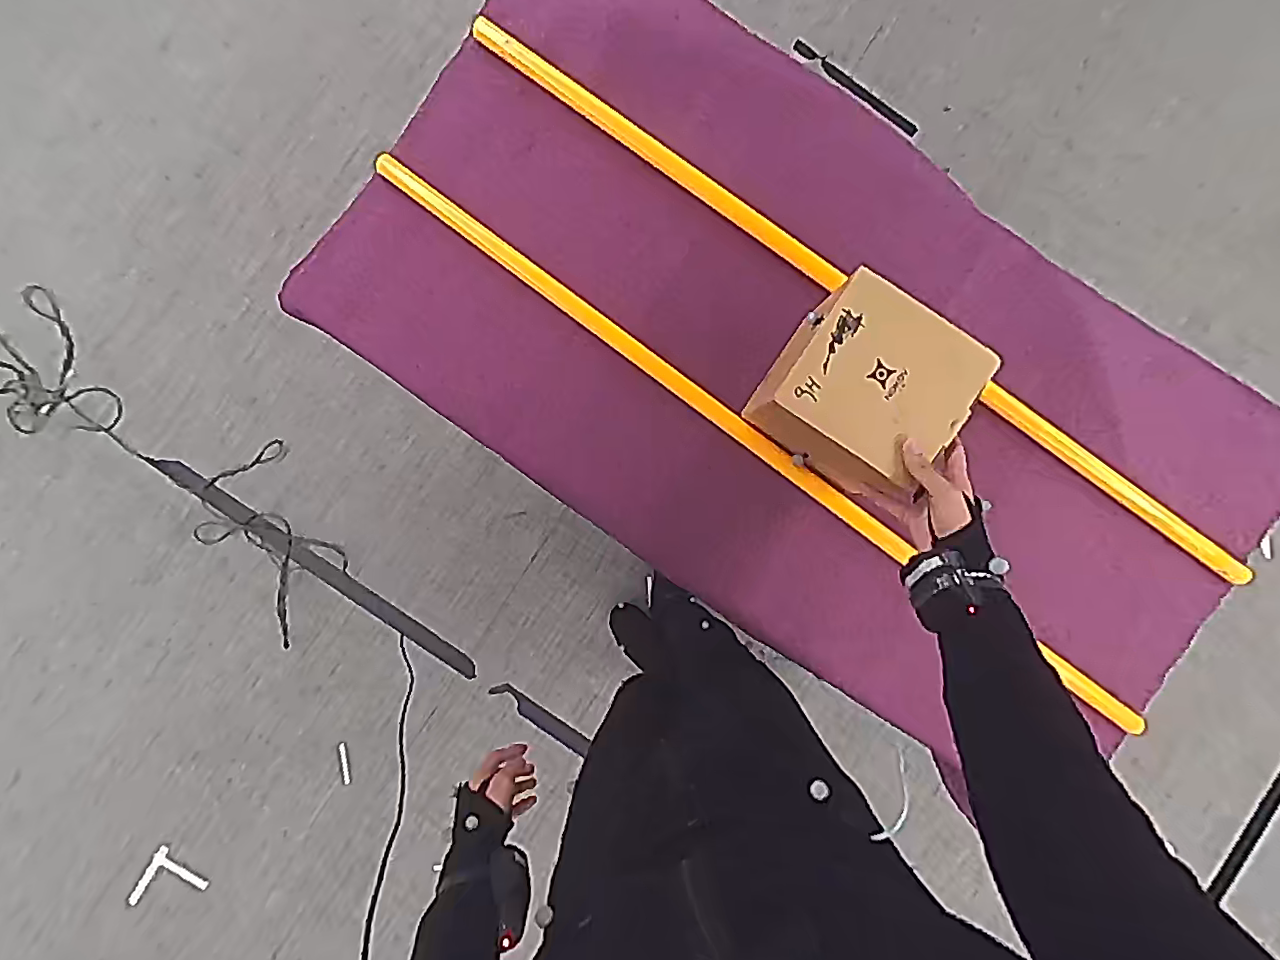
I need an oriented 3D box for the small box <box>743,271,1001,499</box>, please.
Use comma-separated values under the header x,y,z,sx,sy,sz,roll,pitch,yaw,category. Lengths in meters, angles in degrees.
x,y,z,sx,sy,sz,roll,pitch,yaw,category
0.245,-0.097,0.618,0.179,0.176,0.168,34,89,-2,small box
